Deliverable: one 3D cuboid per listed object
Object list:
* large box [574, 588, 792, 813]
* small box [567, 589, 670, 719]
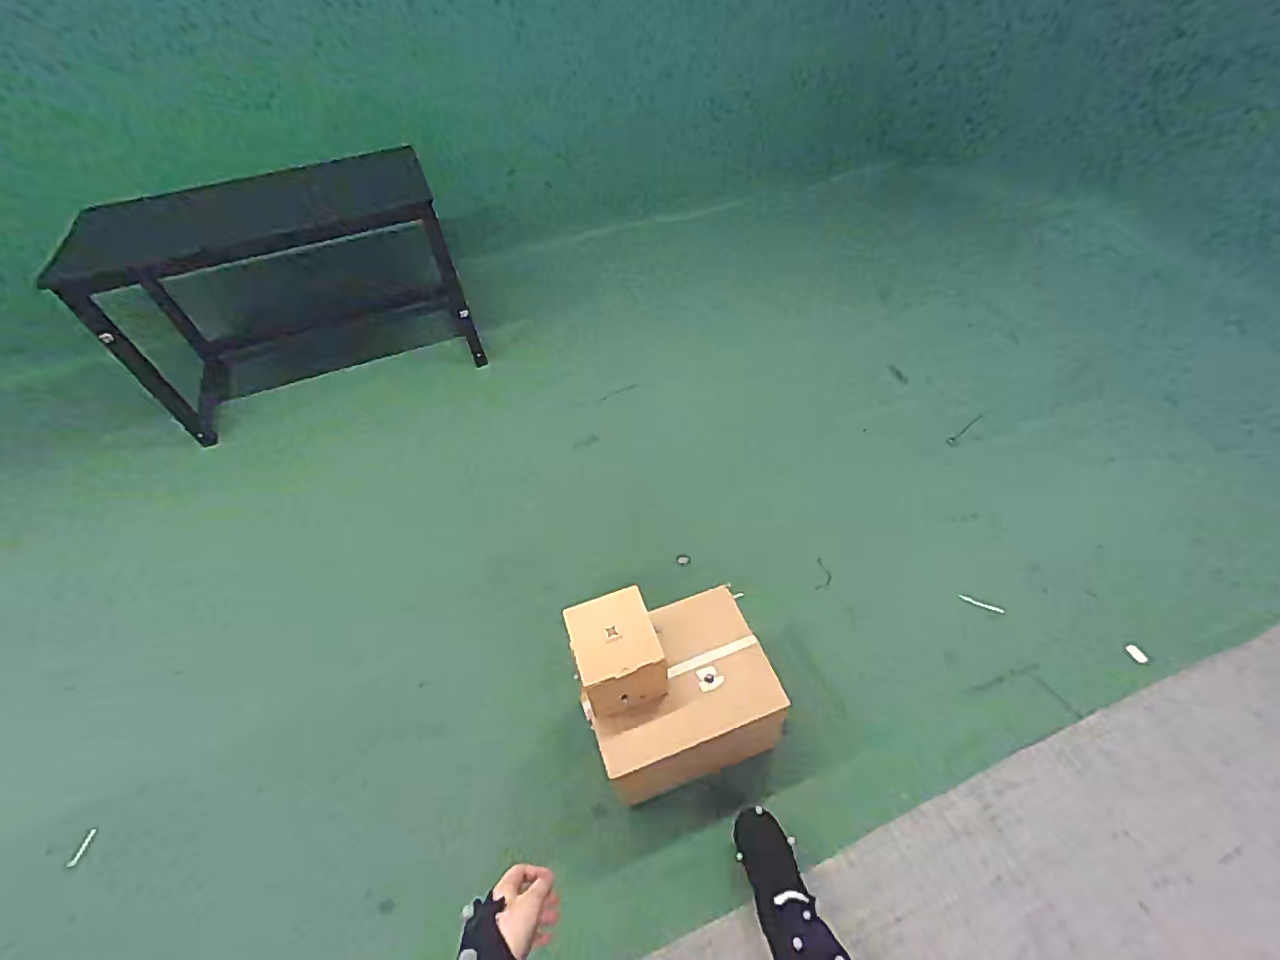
[{"bbox_3d":[0.091,0.524,1.291,0.408,0.320,0.320,-17,50,-10],"label":"large box"},{"bbox_3d":[-0.044,0.361,1.123,0.168,0.176,0.179,-17,49,-10],"label":"small box"}]
